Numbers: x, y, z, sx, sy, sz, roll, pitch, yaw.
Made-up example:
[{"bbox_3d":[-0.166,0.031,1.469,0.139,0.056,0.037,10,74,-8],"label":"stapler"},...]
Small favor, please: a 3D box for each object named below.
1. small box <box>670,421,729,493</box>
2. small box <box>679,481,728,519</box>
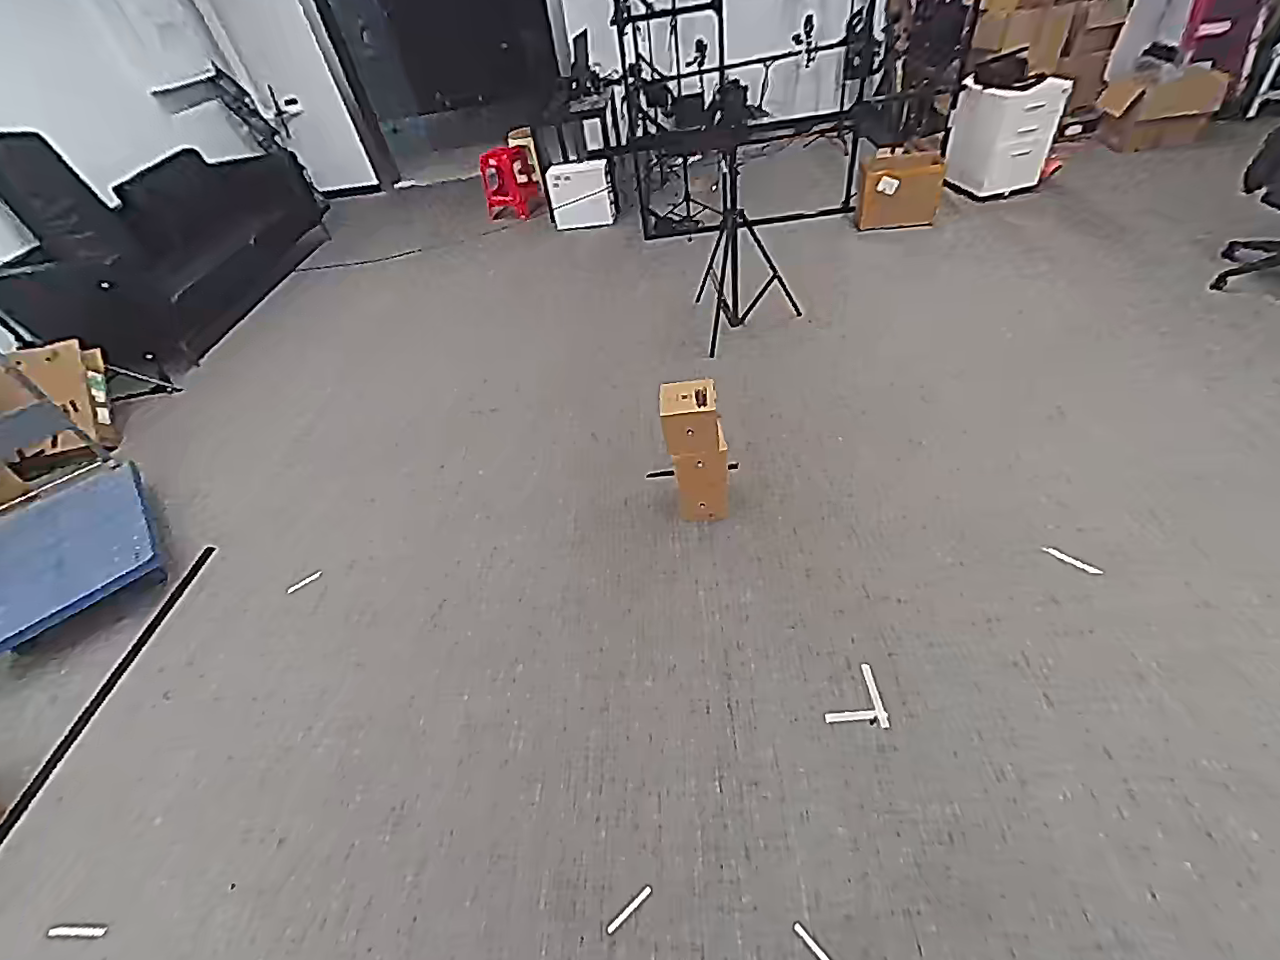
[{"bbox_3d":[0.206,-0.077,1.858,0.179,0.176,0.168,-10,44,3],"label":"small box"},{"bbox_3d":[0.235,0.030,1.976,0.168,0.176,0.179,-3,44,8],"label":"small box"}]
